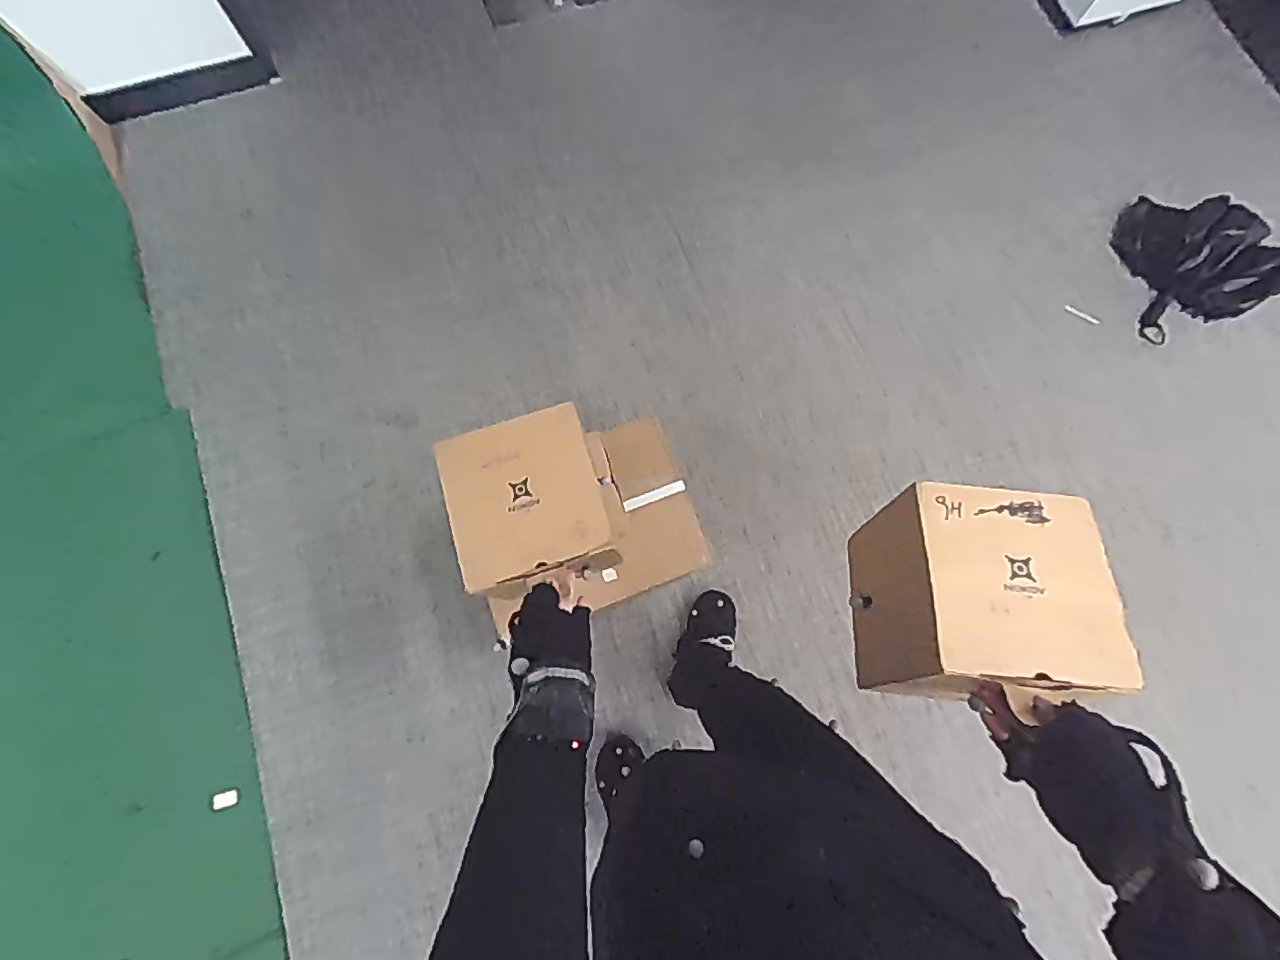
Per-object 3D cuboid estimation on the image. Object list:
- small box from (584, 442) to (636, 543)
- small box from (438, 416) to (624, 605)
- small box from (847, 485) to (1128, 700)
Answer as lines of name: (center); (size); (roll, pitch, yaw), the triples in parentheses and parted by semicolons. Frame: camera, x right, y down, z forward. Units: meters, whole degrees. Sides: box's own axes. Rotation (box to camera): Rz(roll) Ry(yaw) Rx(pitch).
small box: (-0.120, 0.053, 0.918); (0.179, 0.176, 0.168); (-21, 83, -7)
small box: (-0.125, 0.049, 0.677); (0.168, 0.176, 0.179); (-19, 74, -3)
small box: (0.326, 0.123, 0.552); (0.168, 0.176, 0.179); (6, 65, 0)
